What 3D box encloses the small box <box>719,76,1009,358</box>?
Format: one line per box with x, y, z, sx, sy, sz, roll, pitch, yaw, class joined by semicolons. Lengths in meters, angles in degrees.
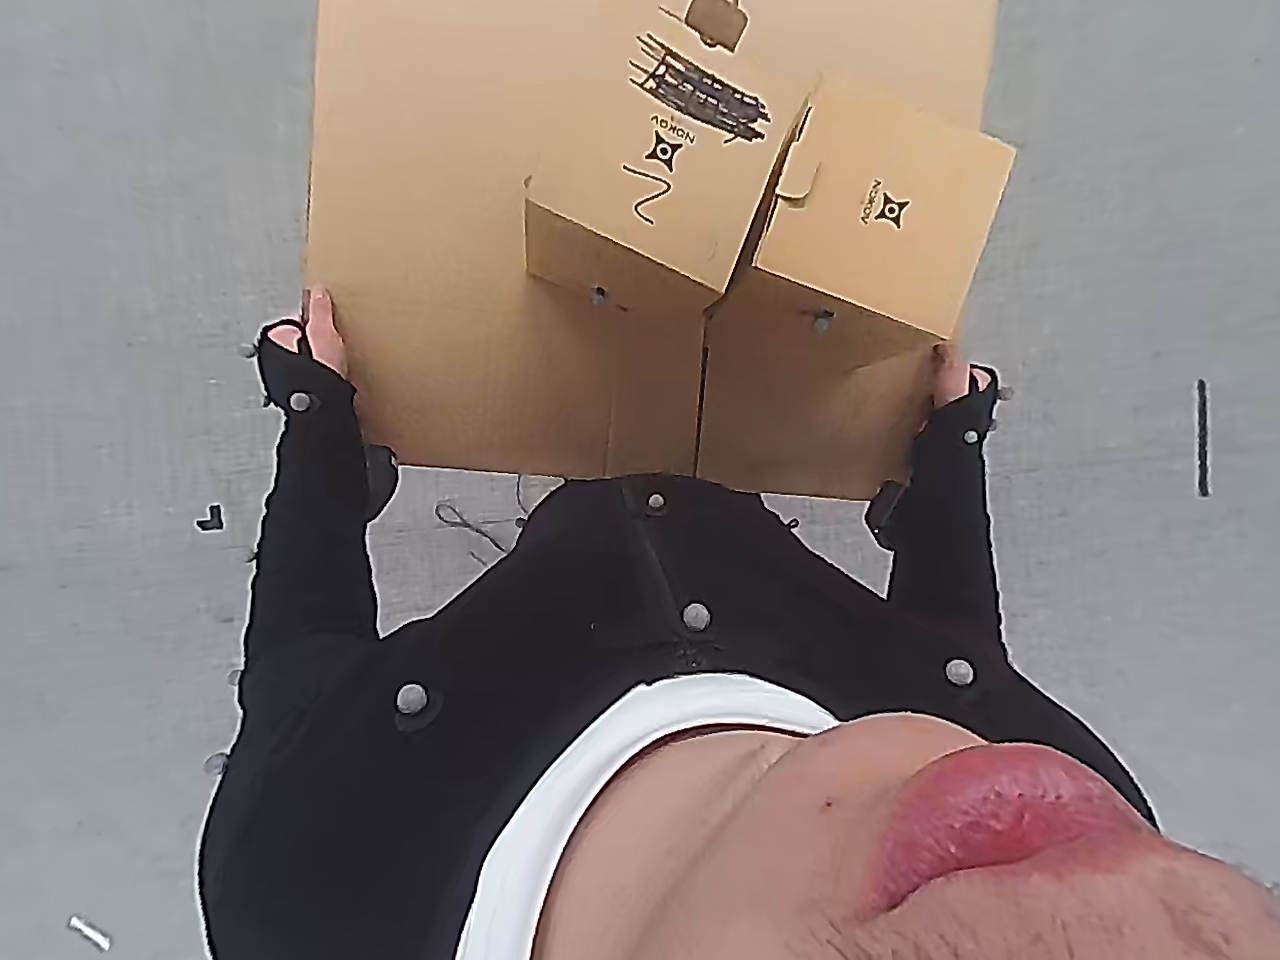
0.195;-0.229;0.525;0.179;0.176;0.168;19;91;-4;small box
